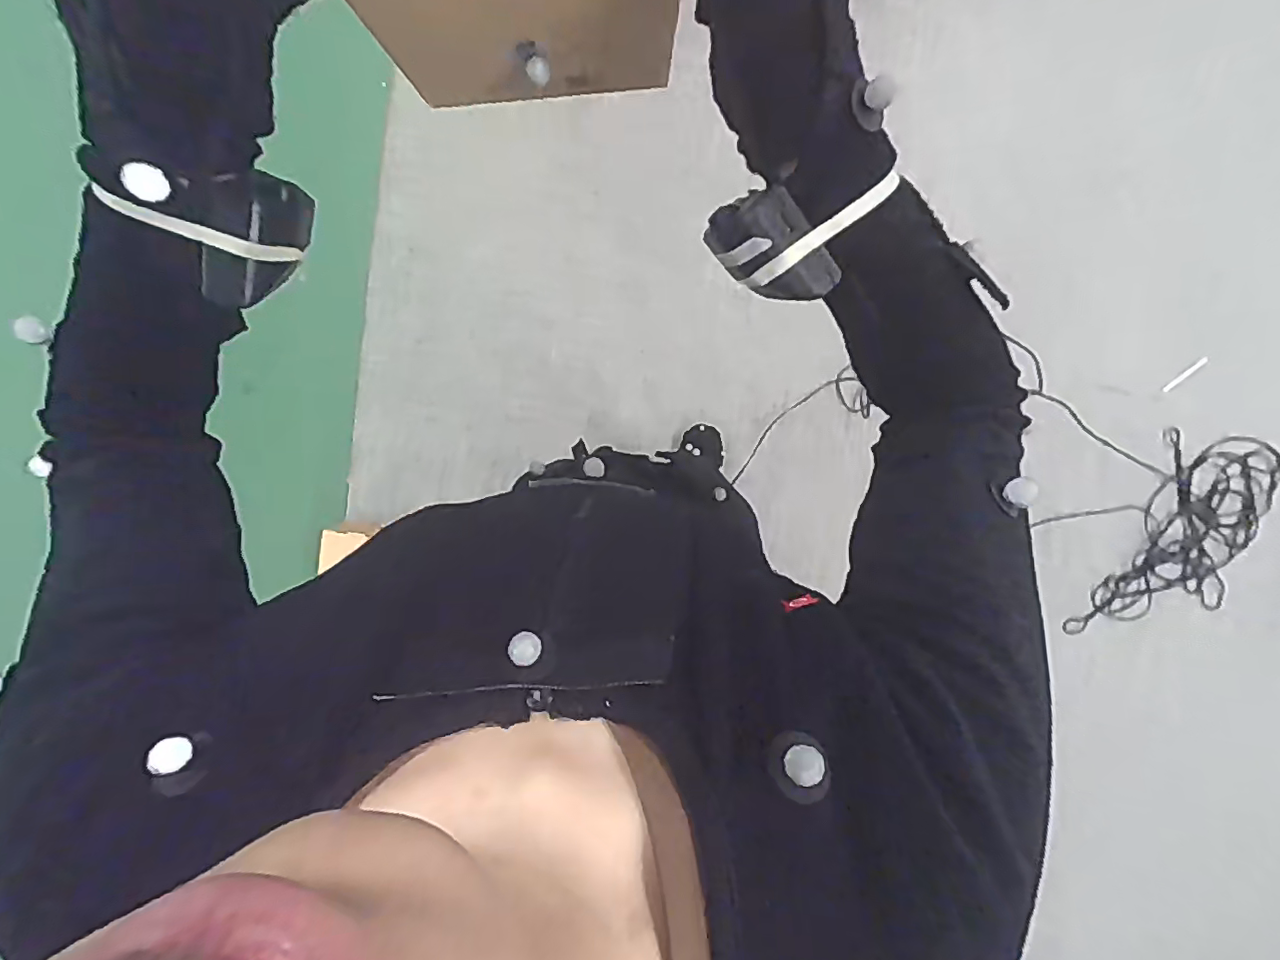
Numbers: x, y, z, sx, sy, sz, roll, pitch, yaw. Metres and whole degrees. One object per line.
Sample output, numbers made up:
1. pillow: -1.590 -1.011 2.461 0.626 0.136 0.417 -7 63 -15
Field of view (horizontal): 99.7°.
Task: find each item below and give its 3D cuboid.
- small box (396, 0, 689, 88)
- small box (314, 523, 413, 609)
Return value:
1. small box: -0.059 -0.336 0.265 0.168 0.176 0.179 -4 100 1
2. small box: -0.710 0.217 1.406 0.168 0.176 0.179 8 92 -1
